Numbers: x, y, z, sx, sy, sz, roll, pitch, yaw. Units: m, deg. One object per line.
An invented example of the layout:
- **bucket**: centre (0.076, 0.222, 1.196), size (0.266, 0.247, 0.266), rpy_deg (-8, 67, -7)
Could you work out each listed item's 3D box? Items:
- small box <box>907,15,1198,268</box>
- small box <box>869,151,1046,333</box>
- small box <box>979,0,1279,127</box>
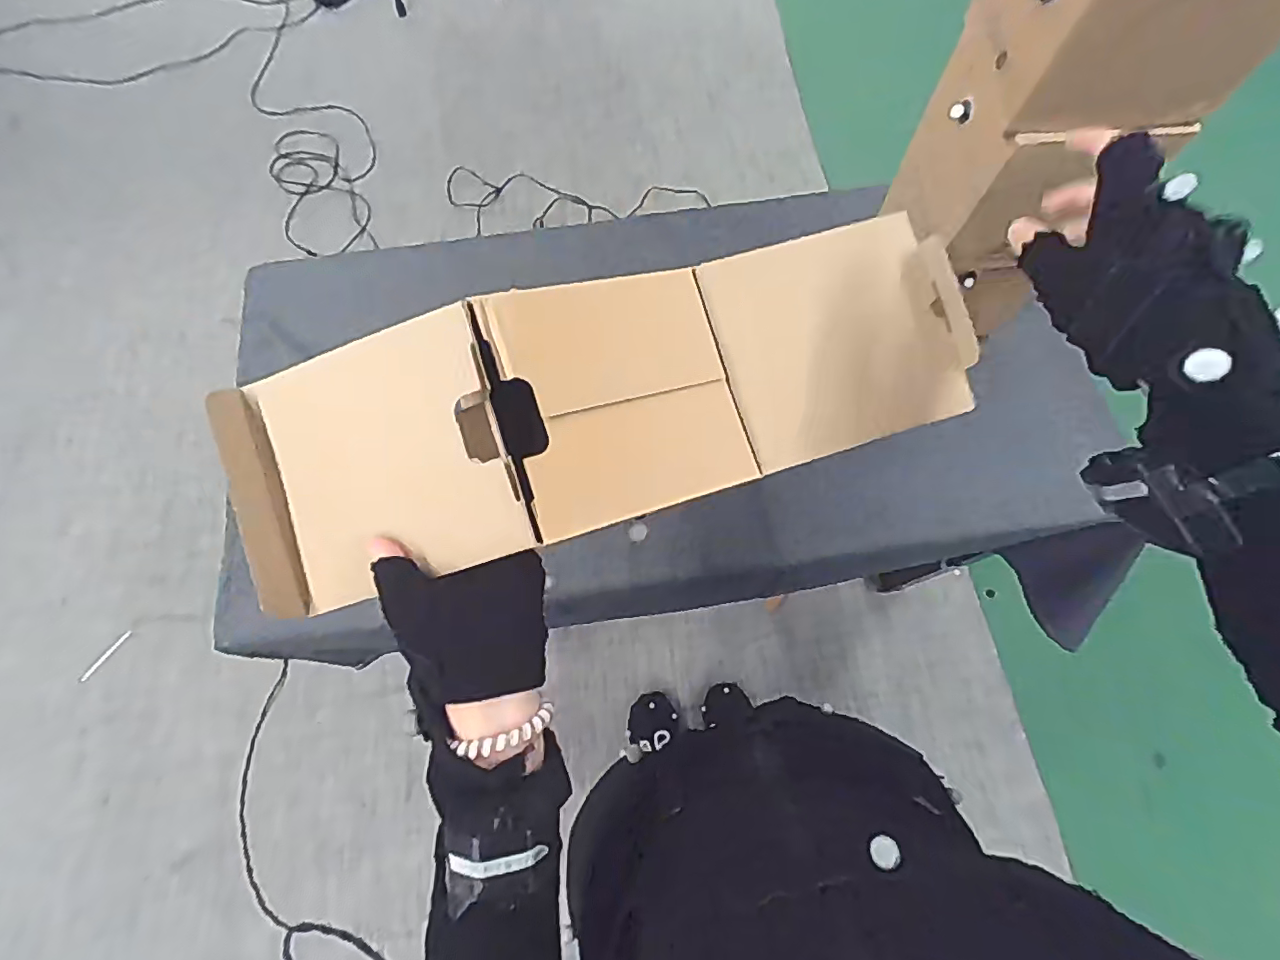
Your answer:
- **small box**: centre (0.416, -0.359, 0.586), size (0.168, 0.176, 0.179), rpy_deg (-3, 71, 2)
- **small box**: centre (0.429, -0.320, 0.746), size (0.179, 0.176, 0.168), rpy_deg (3, 71, 3)
- **small box**: centre (0.406, -0.416, 0.434), size (0.179, 0.176, 0.168), rpy_deg (-1, 71, 2)
